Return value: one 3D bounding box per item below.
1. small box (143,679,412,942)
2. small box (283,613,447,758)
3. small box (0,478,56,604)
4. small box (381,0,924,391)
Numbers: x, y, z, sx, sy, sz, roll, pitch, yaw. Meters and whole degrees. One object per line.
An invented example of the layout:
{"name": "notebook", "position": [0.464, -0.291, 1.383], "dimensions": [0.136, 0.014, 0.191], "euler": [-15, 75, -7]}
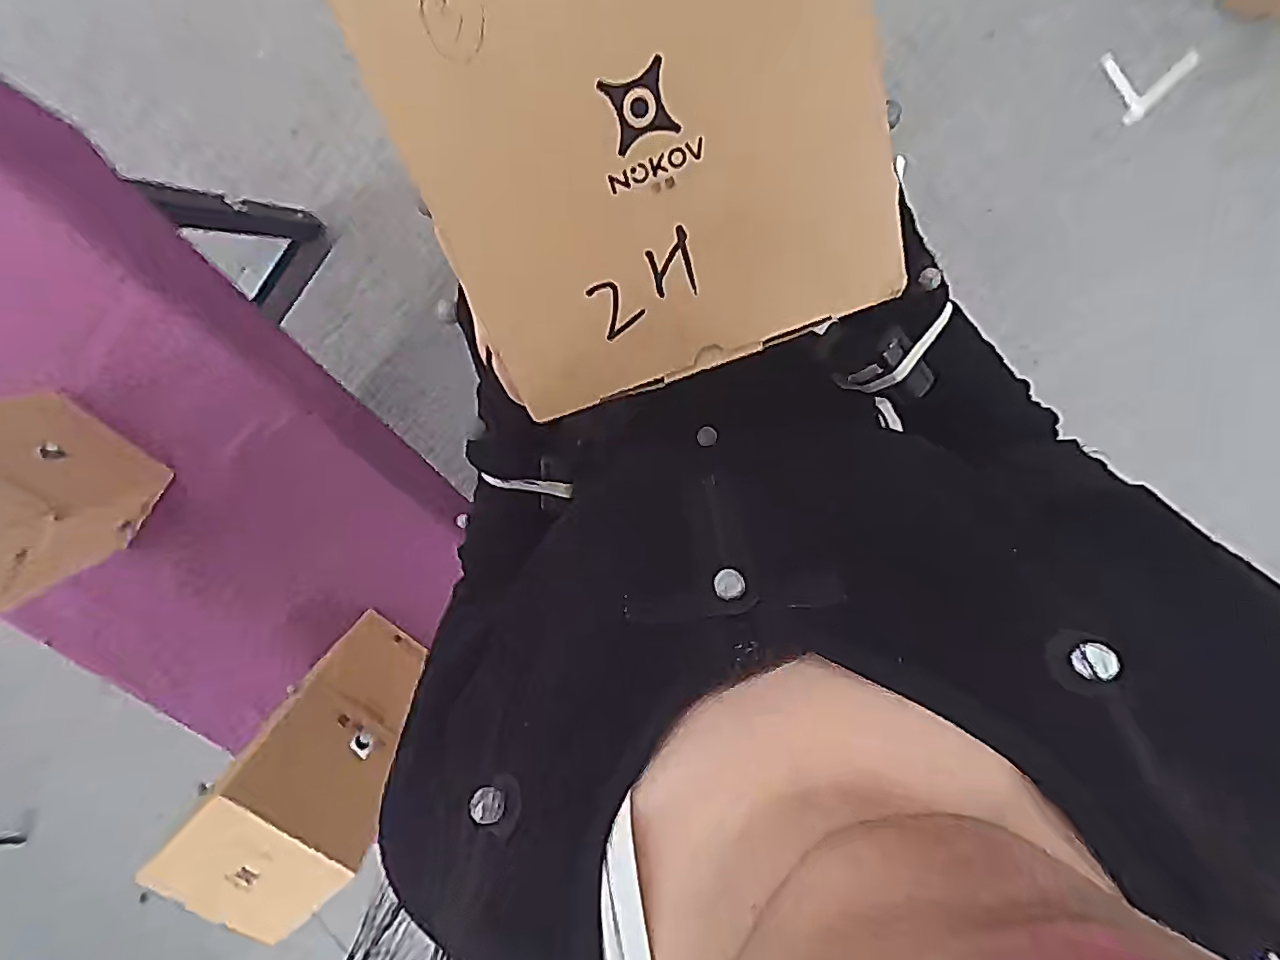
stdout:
{"name": "small box", "position": [-0.405, 0.379, 0.639], "dimensions": [0.168, 0.176, 0.179], "euler": [42, 104, -15]}
{"name": "small box", "position": [-0.411, 0.332, 0.795], "dimensions": [0.168, 0.176, 0.179], "euler": [43, 106, -14]}
{"name": "small box", "position": [-0.755, 0.067, 0.522], "dimensions": [0.179, 0.176, 0.168], "euler": [38, 107, -13]}
{"name": "small box", "position": [0.007, -0.169, 0.257], "dimensions": [0.168, 0.176, 0.179], "euler": [-17, 117, 7]}
